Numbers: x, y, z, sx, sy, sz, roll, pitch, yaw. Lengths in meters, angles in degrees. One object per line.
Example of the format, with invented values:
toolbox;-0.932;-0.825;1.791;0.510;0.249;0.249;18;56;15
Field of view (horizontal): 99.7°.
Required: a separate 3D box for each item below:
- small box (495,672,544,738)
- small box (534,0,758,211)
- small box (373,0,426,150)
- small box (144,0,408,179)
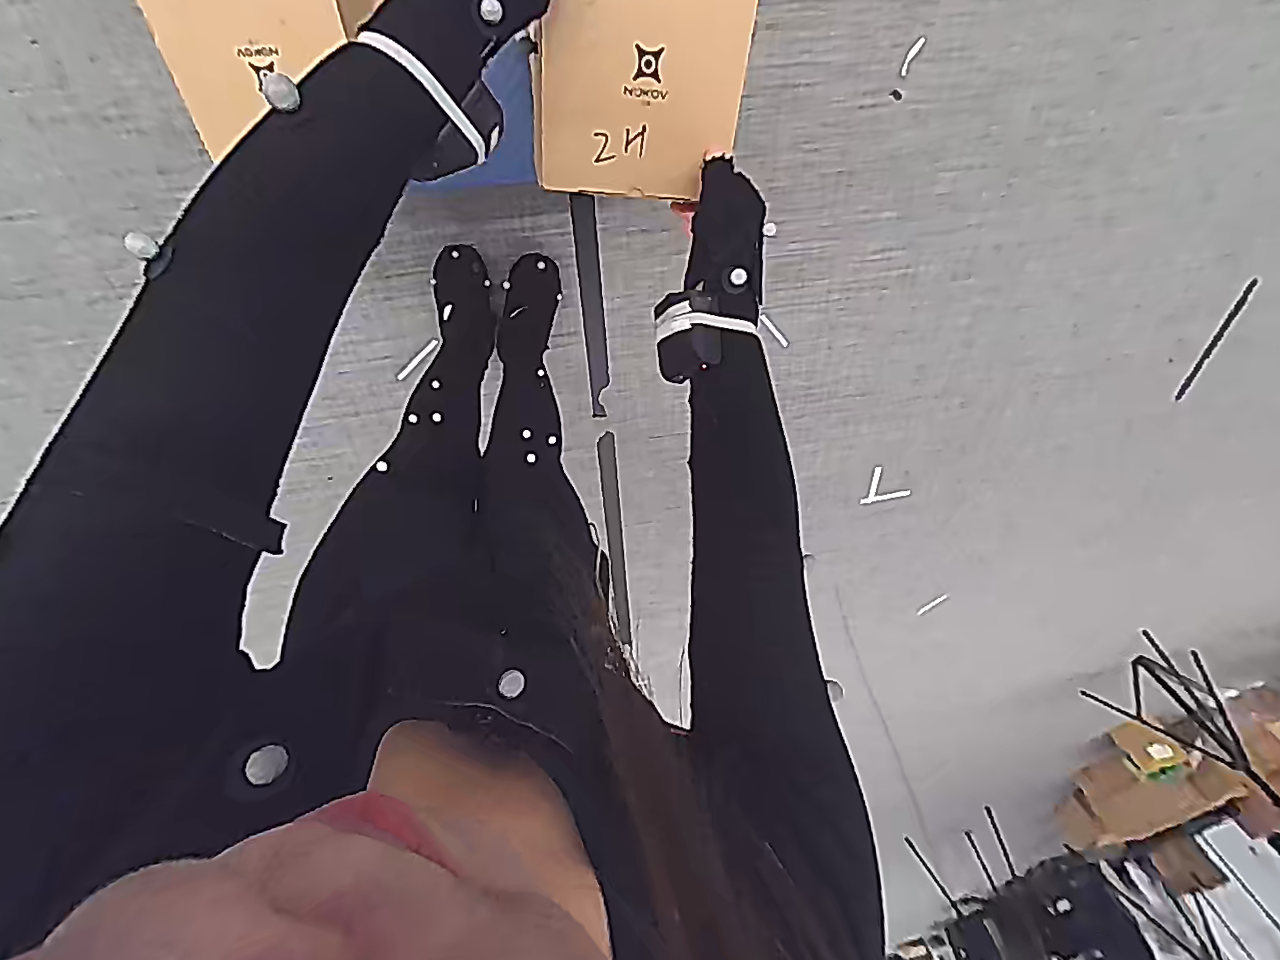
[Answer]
small box;-0.469;0.882;2.123;0.168;0.176;0.179;-7;130;-7
small box;-0.011;-0.364;0.494;0.168;0.176;0.179;-1;128;-12
small box;-0.387;-0.537;0.700;0.179;0.176;0.168;-5;129;-8
small box;-0.364;-0.434;0.574;0.168;0.176;0.179;-7;129;-6
